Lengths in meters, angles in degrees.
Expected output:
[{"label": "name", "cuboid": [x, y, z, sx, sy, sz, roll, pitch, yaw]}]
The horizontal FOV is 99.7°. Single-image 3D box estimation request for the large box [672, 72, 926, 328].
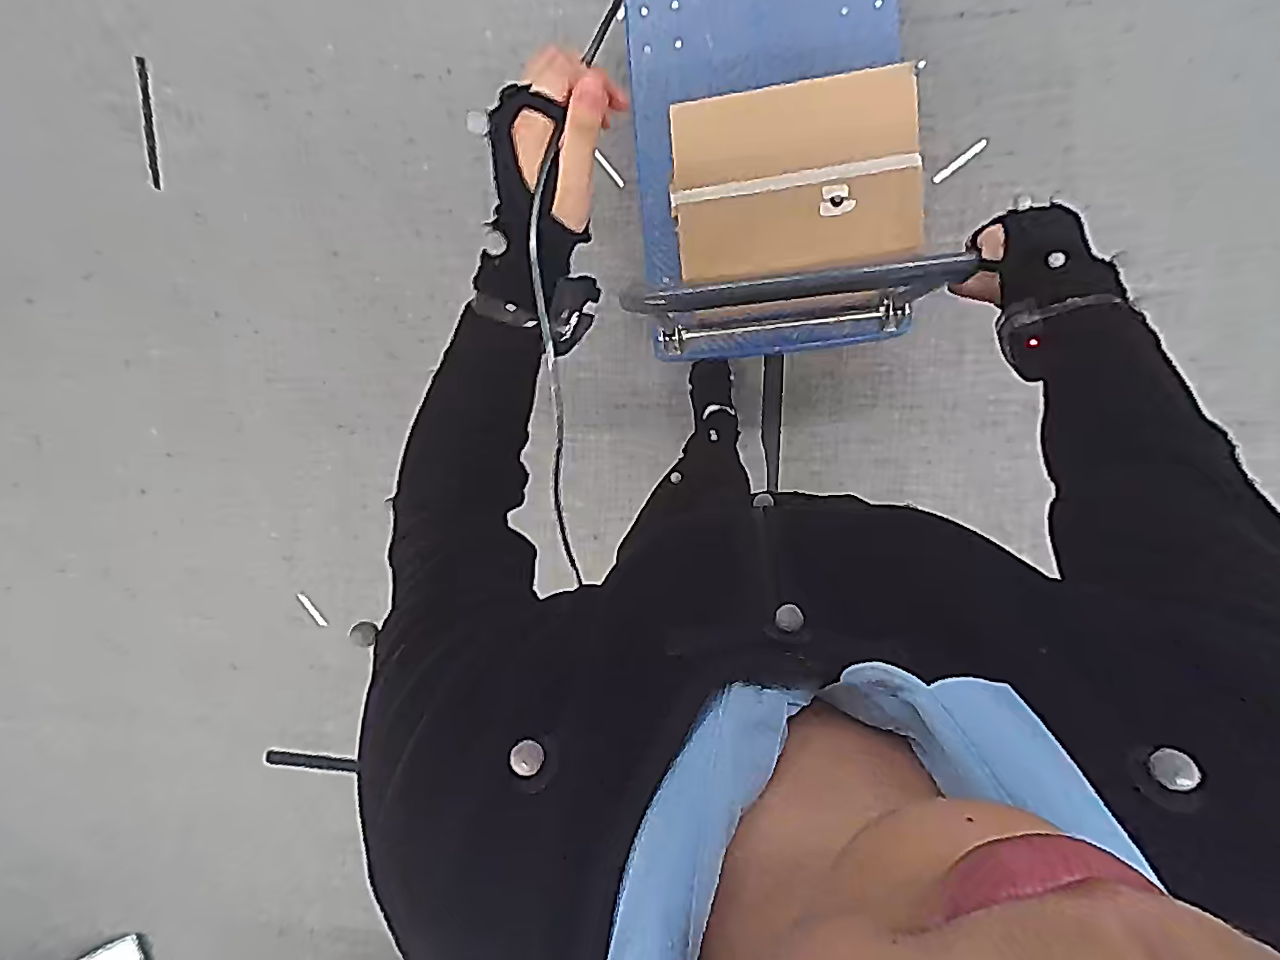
[{"label": "large box", "cuboid": [0.284, -0.503, 1.058, 0.408, 0.320, 0.320, -4, 96, 9]}]
